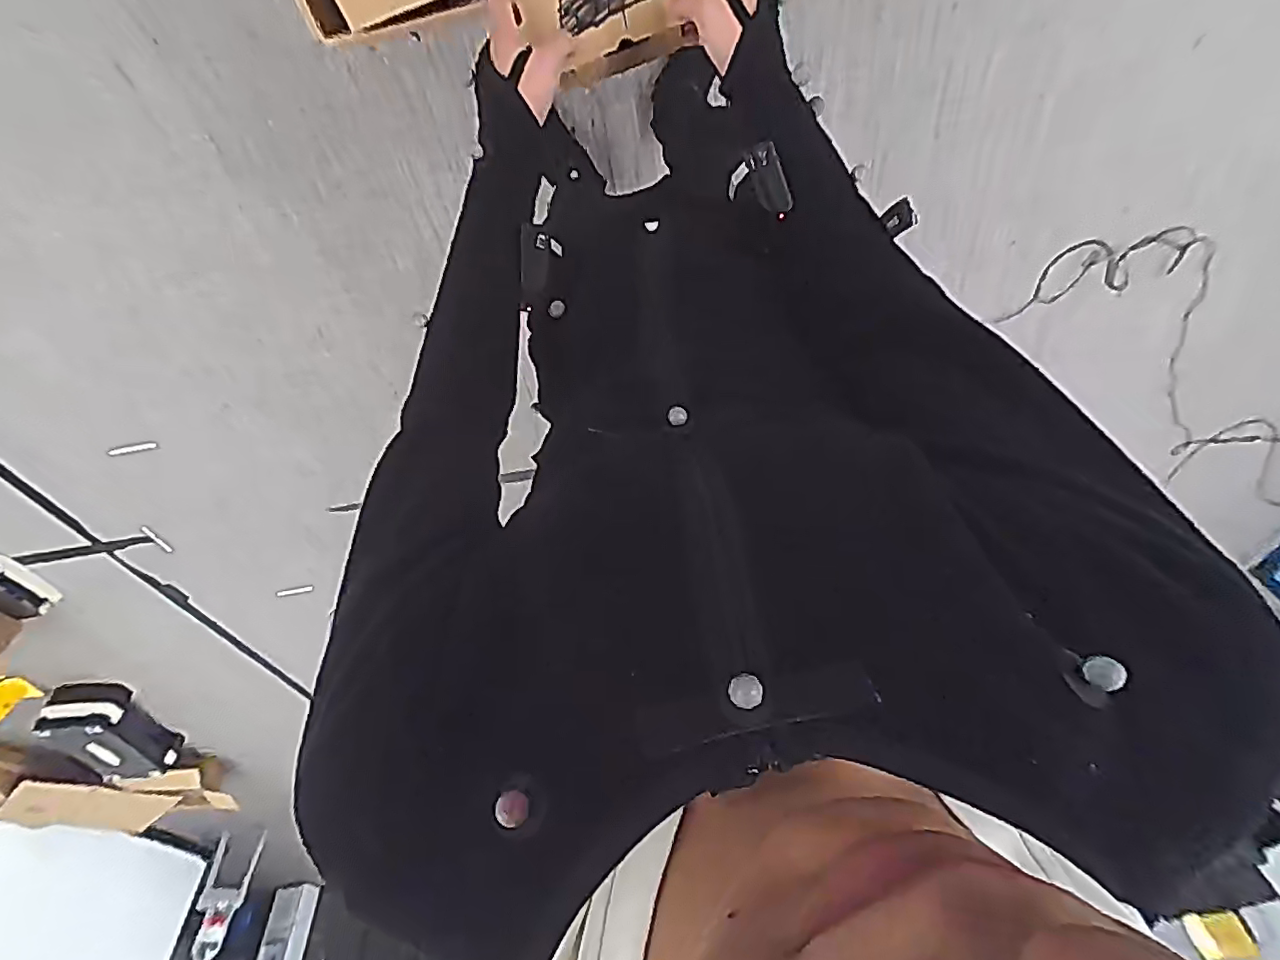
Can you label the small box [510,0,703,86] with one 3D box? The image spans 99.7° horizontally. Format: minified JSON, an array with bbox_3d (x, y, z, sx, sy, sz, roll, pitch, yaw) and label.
[{"bbox_3d":[-0.044,-0.503,0.514,0.168,0.176,0.179,-16,122,8],"label":"small box"}]
